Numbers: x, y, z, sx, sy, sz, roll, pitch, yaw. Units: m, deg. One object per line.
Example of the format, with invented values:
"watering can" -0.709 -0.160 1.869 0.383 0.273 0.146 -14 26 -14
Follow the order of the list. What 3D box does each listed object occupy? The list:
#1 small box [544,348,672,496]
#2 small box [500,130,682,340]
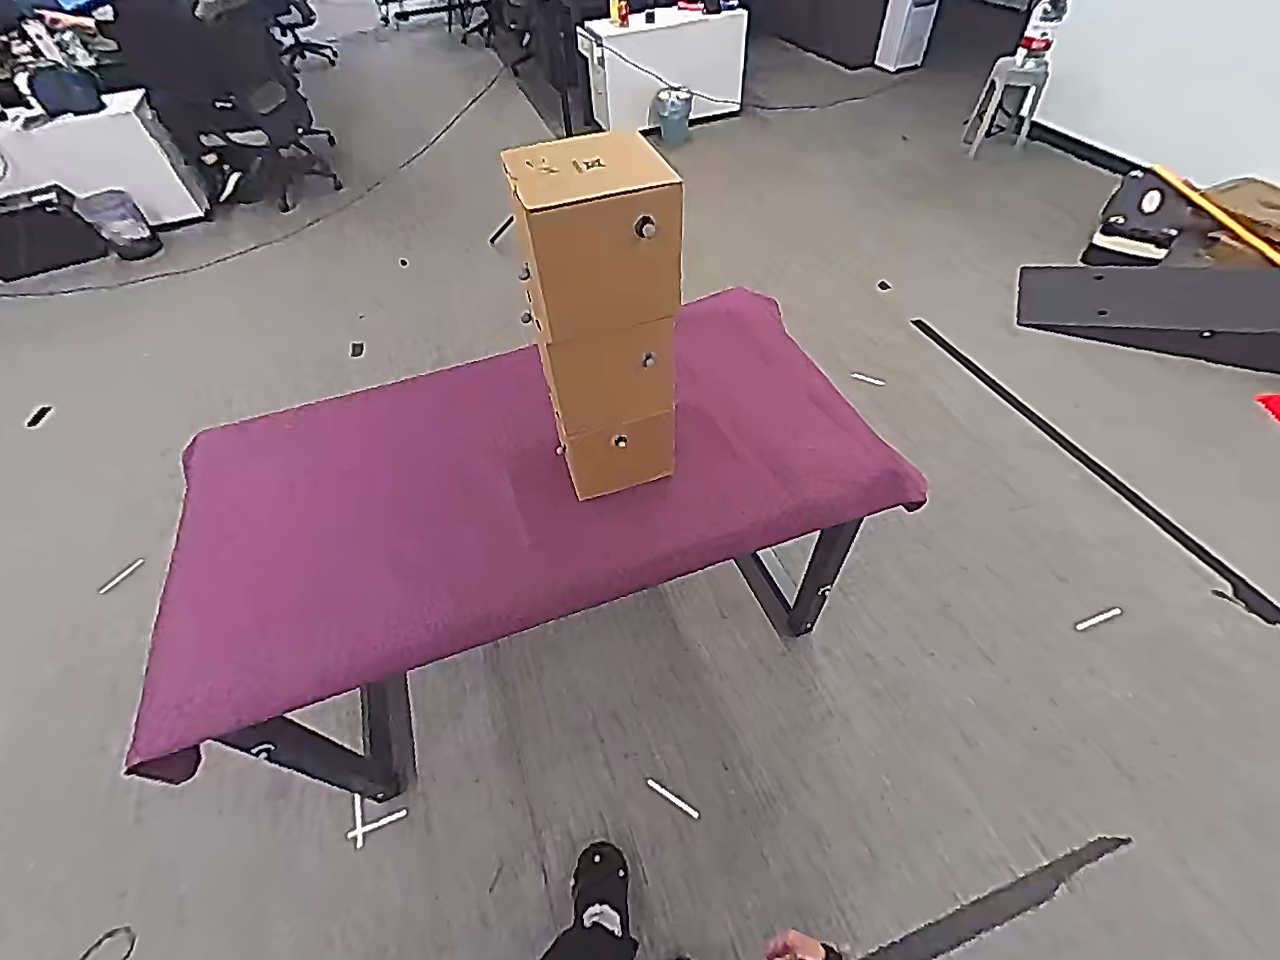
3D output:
"small box" -0.050 -0.096 0.931 0.179 0.176 0.168 -16 53 -10
"small box" -0.058 -0.303 0.674 0.179 0.176 0.168 -17 52 -9
